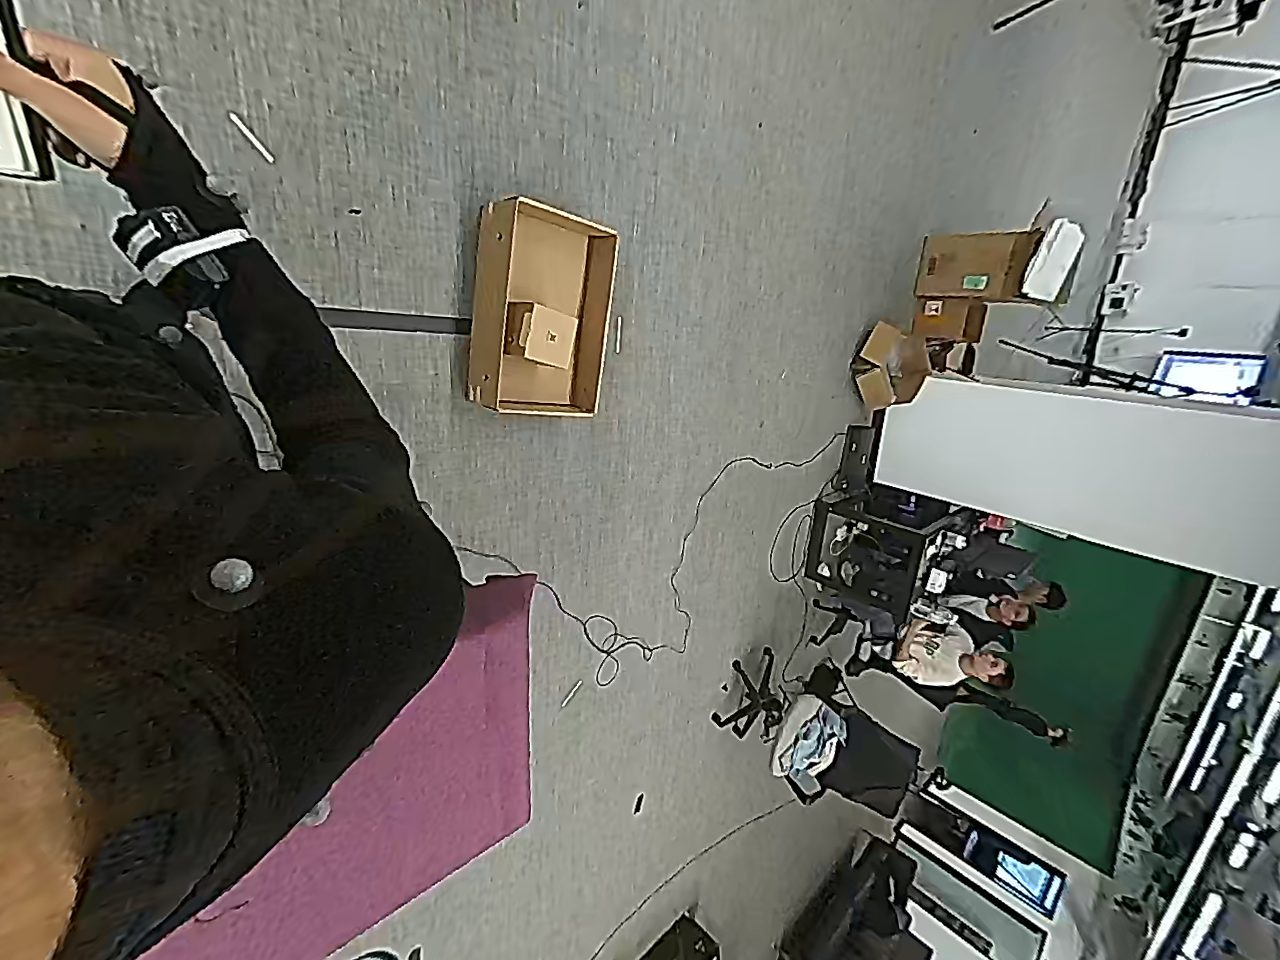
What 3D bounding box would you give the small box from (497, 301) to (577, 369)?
[{"bbox_3d":[-0.332,-0.462,1.722,0.179,0.176,0.168,7,100,-46],"label":"small box"}]
